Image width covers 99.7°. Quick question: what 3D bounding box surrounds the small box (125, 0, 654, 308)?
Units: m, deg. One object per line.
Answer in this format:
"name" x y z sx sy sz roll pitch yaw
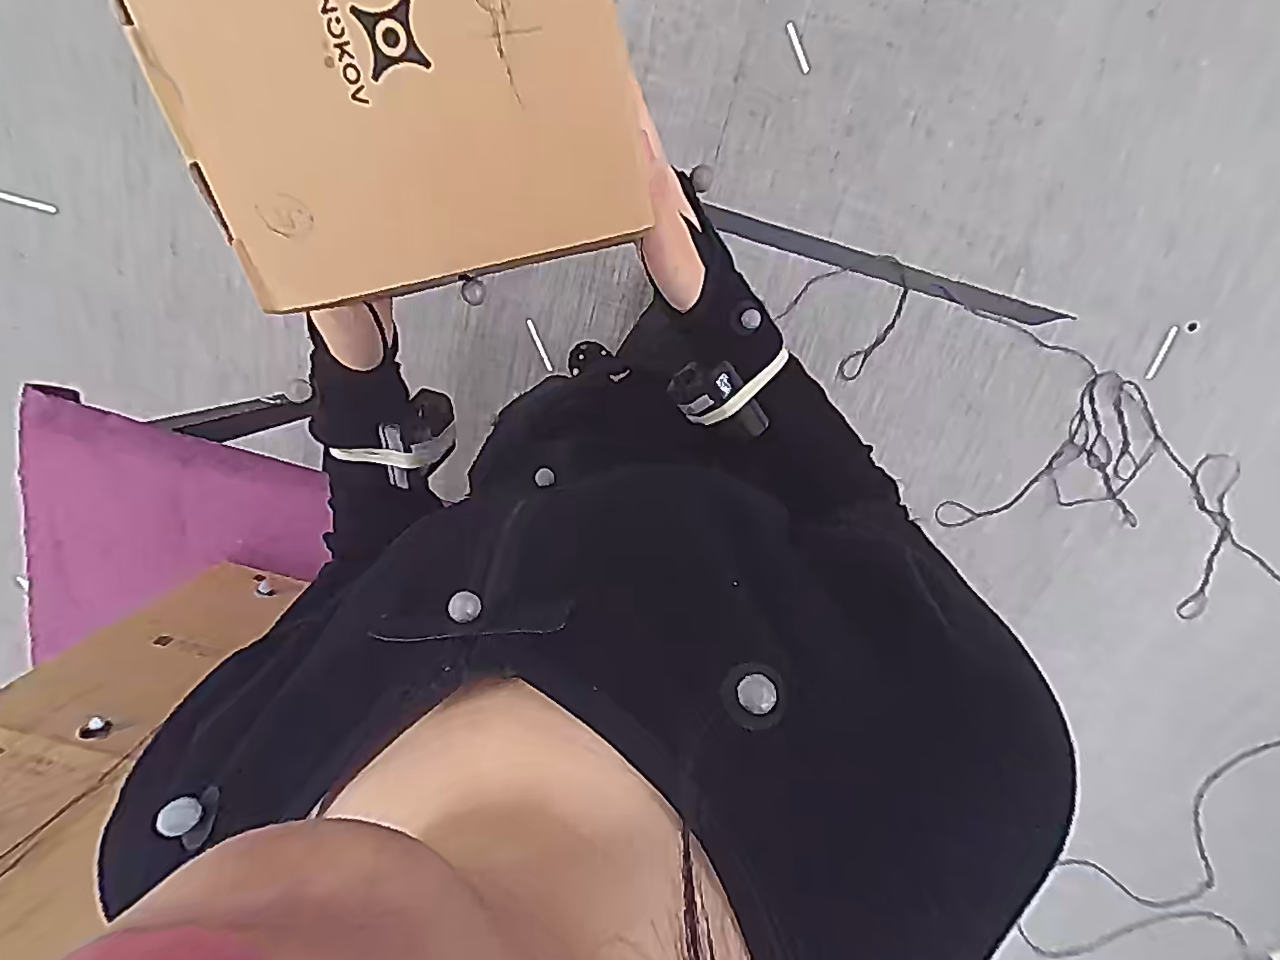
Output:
"small box" -0.096 -0.193 0.274 0.179 0.176 0.168 -13 113 2

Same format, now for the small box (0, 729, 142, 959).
"small box" -0.529 0.318 0.406 0.168 0.176 0.179 18 105 -6

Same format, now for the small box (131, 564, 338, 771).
"small box" -0.535 0.240 0.724 0.168 0.176 0.179 17 105 -6

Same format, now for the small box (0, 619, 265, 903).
"small box" -0.532 0.280 0.565 0.168 0.176 0.179 19 106 -6
